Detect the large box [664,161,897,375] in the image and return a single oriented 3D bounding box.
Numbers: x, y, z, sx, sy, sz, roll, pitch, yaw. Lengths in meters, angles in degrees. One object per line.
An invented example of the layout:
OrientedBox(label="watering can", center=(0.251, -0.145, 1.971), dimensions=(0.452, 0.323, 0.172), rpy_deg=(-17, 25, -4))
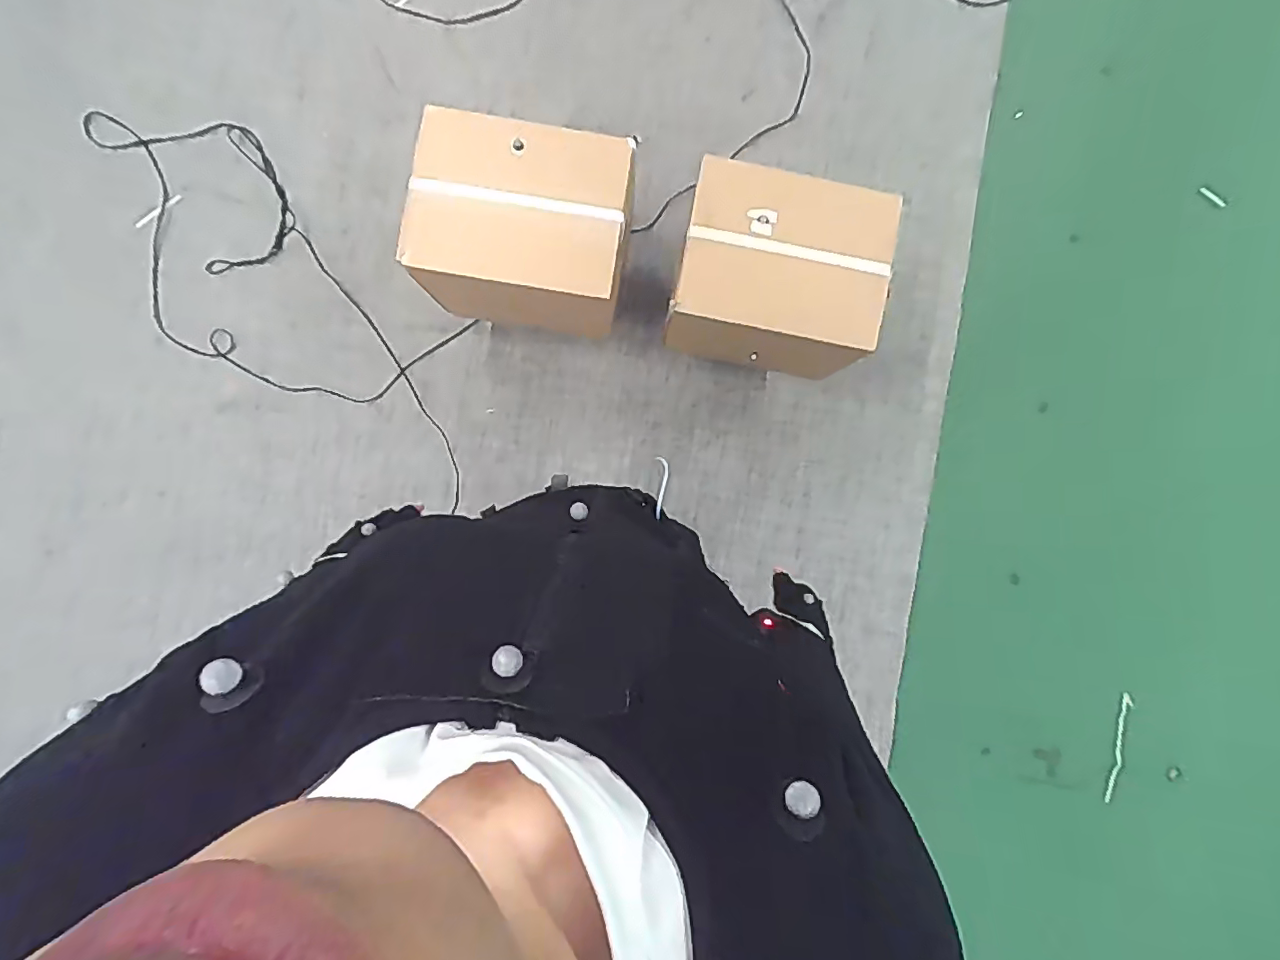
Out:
OrientedBox(label="large box", center=(0.286, -0.443, 1.210), dimensions=(0.408, 0.320, 0.320), rpy_deg=(11, 89, -2))
